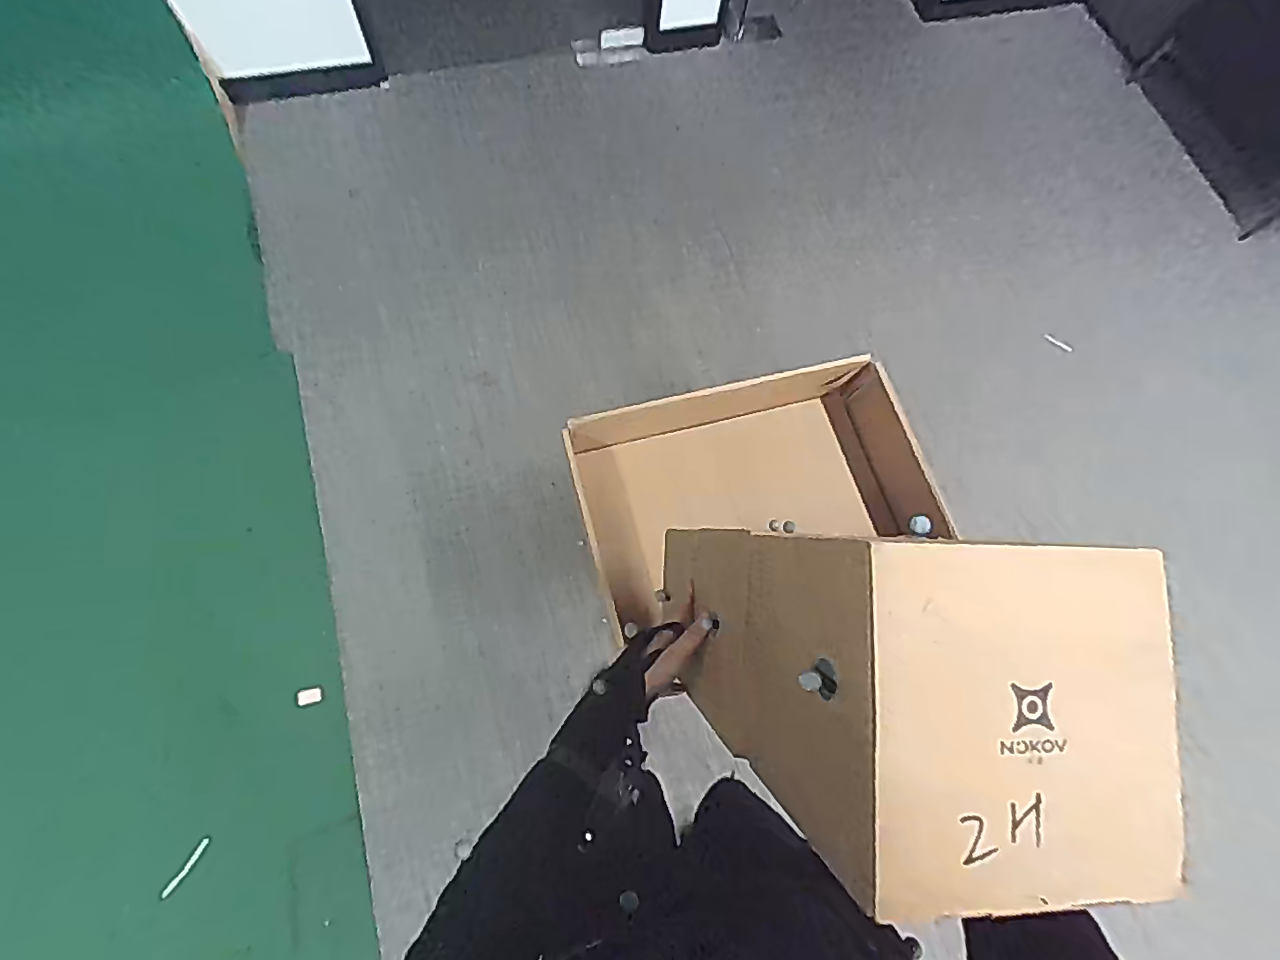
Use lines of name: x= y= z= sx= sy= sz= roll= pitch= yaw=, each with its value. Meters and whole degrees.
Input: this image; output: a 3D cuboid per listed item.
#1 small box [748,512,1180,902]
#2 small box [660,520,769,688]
small box: x=0.172 y=0.114 z=0.339 sx=0.168 sy=0.176 sz=0.179 roll=3 pitch=85 yaw=-7
small box: x=0.121 y=0.141 z=0.664 sx=0.168 sy=0.176 sz=0.179 roll=3 pitch=85 yaw=-9
